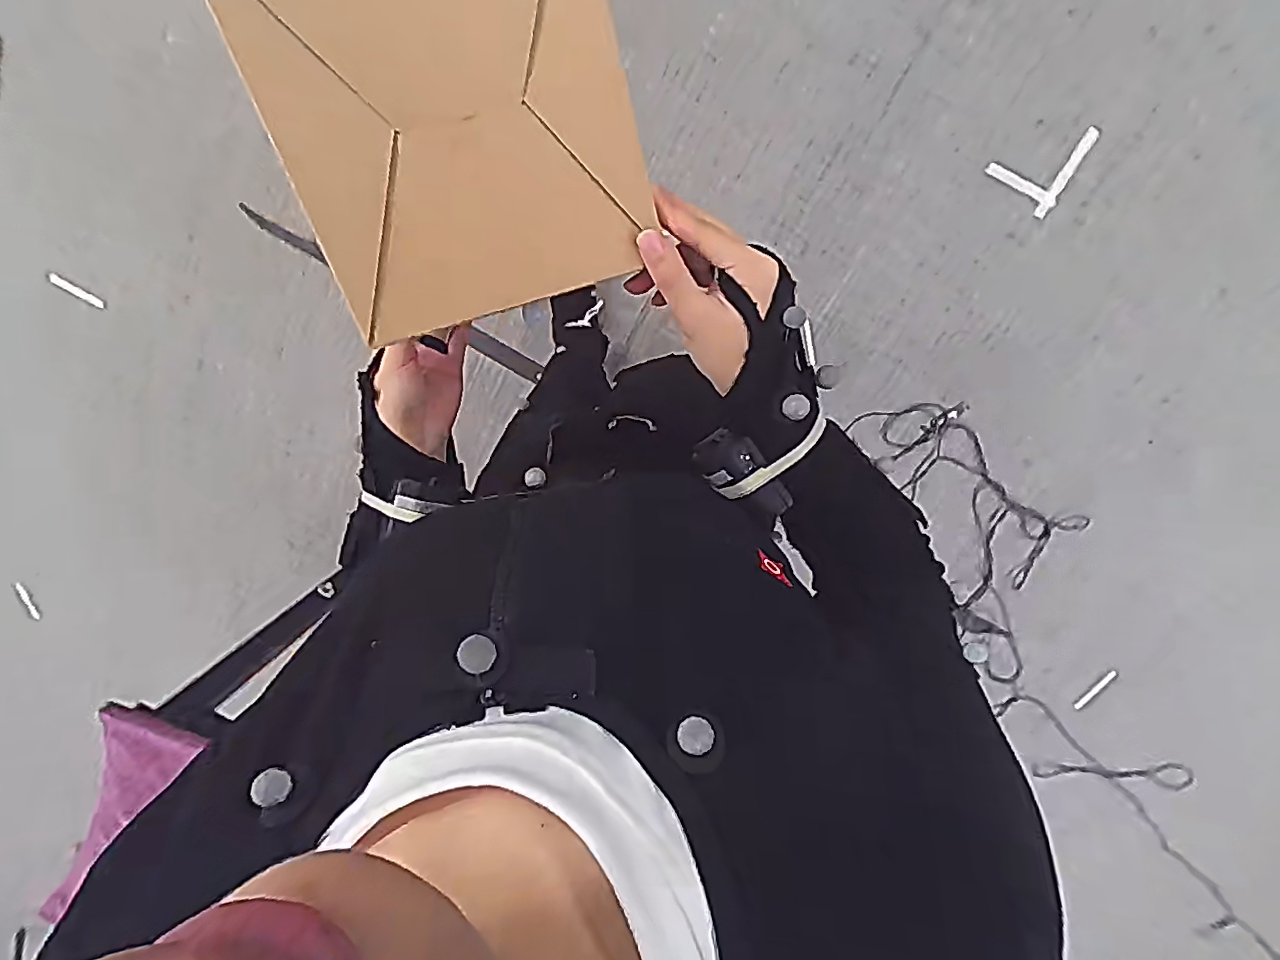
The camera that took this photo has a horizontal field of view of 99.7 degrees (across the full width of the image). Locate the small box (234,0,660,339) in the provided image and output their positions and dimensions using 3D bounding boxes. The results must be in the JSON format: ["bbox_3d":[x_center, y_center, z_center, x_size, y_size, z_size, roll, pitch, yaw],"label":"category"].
[{"bbox_3d":[-0.098,-0.198,0.327,0.168,0.176,0.179,-18,113,-7],"label":"small box"}]
